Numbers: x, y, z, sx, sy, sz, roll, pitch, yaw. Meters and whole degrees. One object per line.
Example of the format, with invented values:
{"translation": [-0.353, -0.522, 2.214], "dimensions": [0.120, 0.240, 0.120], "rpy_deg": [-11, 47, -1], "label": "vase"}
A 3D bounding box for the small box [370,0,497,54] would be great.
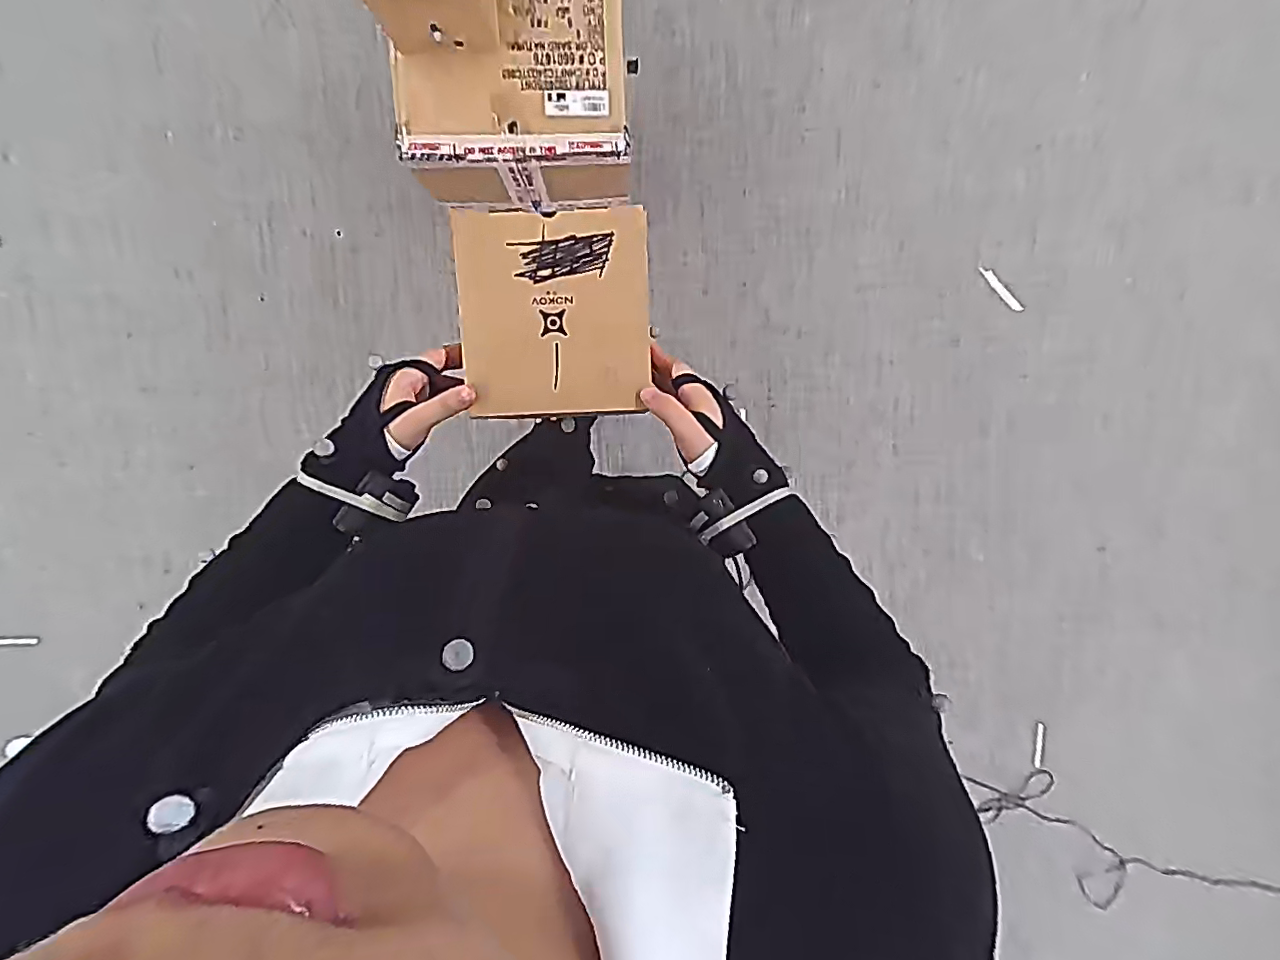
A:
{"translation": [-0.313, -0.768, 0.786], "dimensions": [0.168, 0.176, 0.179], "rpy_deg": [-2, 100, 0], "label": "small box"}
